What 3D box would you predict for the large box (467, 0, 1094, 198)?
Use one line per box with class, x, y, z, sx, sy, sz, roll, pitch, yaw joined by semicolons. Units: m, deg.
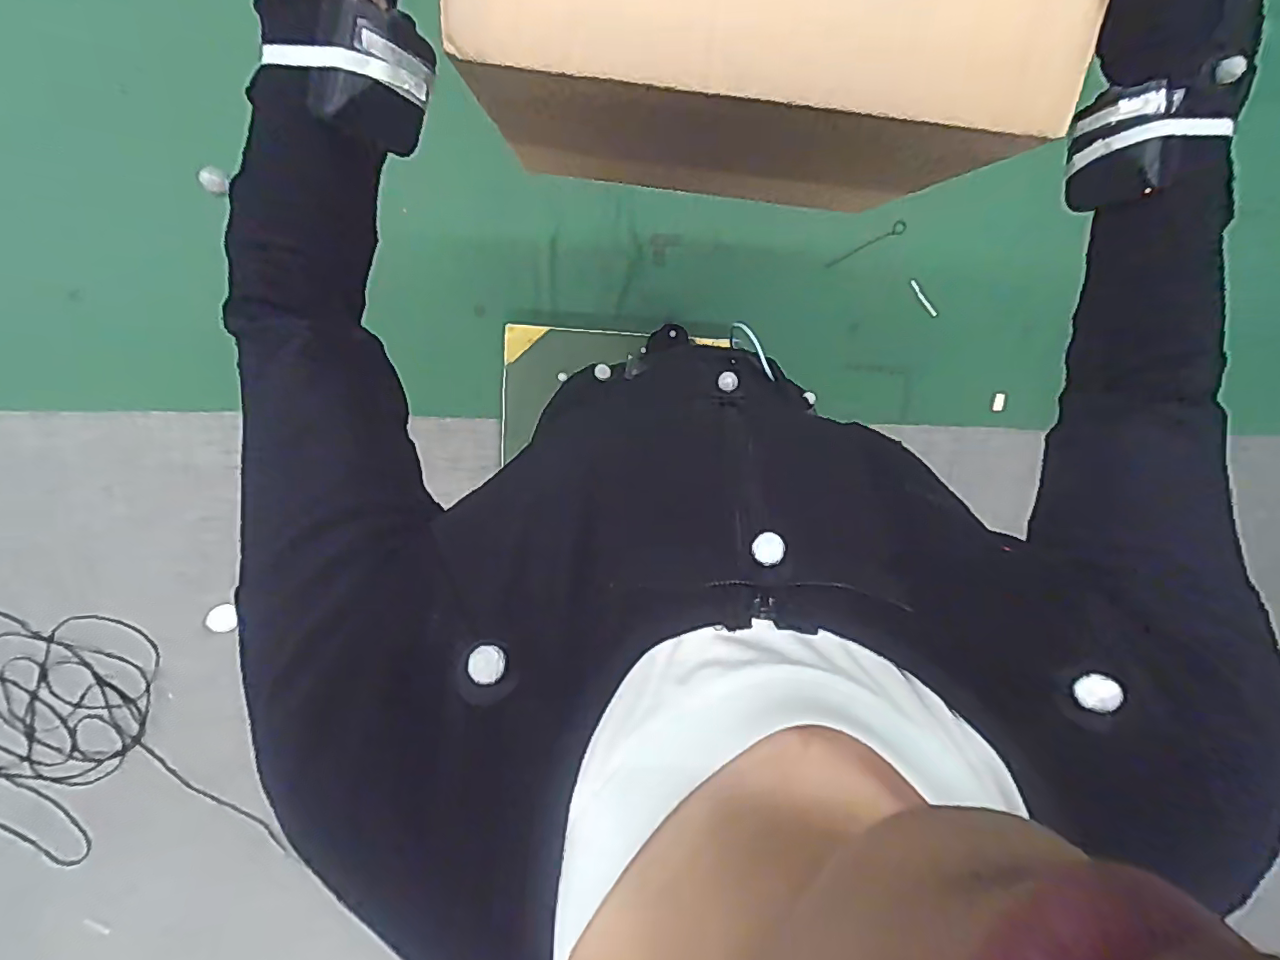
large box;0.090;-0.446;0.445;0.408;0.320;0.320;4;108;-5
